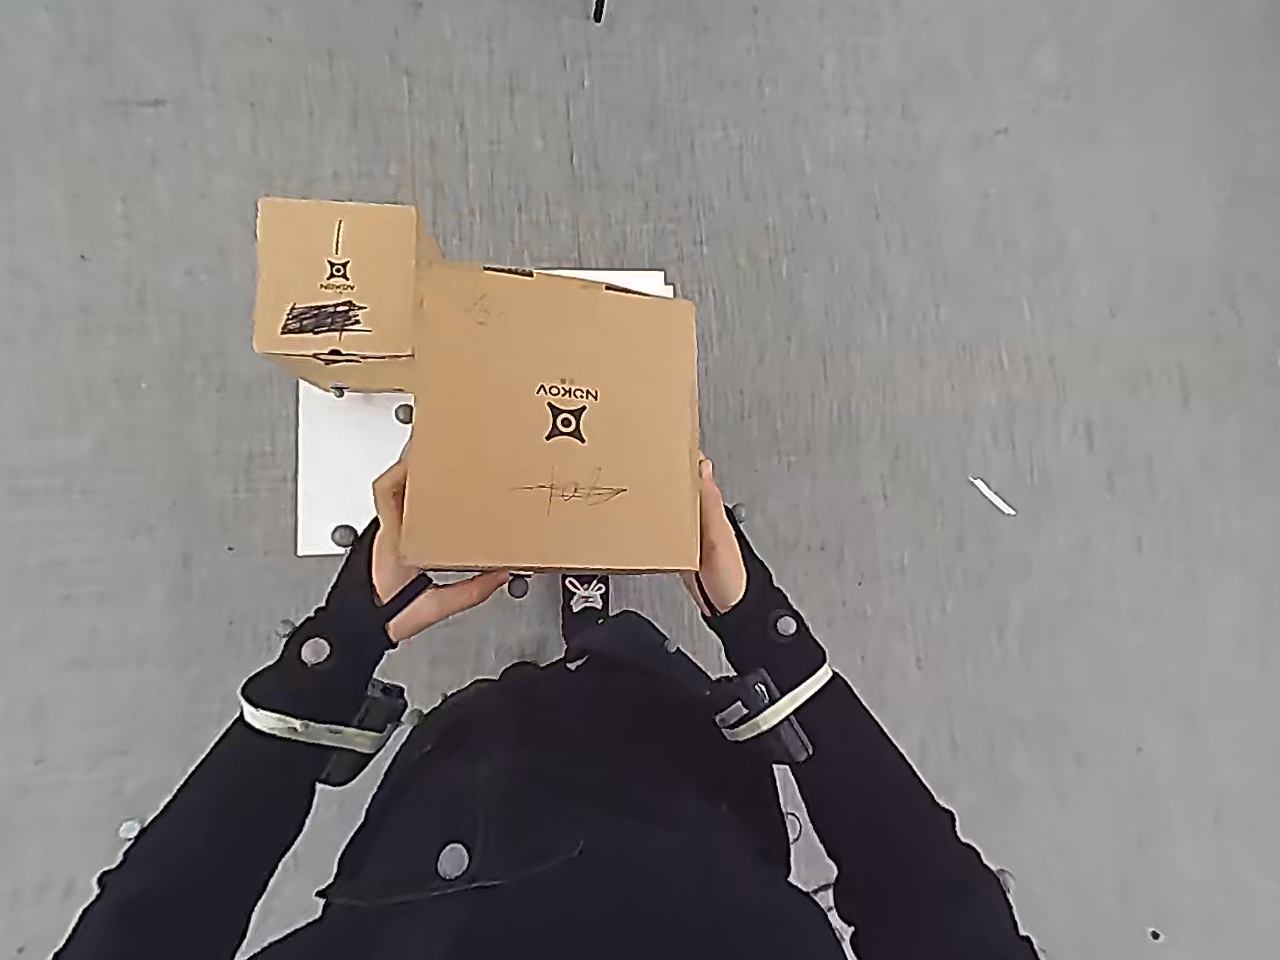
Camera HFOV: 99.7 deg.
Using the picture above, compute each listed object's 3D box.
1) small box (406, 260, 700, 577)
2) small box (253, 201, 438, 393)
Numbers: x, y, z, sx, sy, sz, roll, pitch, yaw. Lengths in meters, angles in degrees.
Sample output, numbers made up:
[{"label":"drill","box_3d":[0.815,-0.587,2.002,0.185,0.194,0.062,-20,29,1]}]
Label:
[{"label":"small box","box_3d":[-0.065,-0.022,0.391,0.168,0.176,0.179,4,79,-16]},{"label":"small box","box_3d":[-0.337,-0.208,0.663,0.168,0.176,0.179,0,85,-8]}]
